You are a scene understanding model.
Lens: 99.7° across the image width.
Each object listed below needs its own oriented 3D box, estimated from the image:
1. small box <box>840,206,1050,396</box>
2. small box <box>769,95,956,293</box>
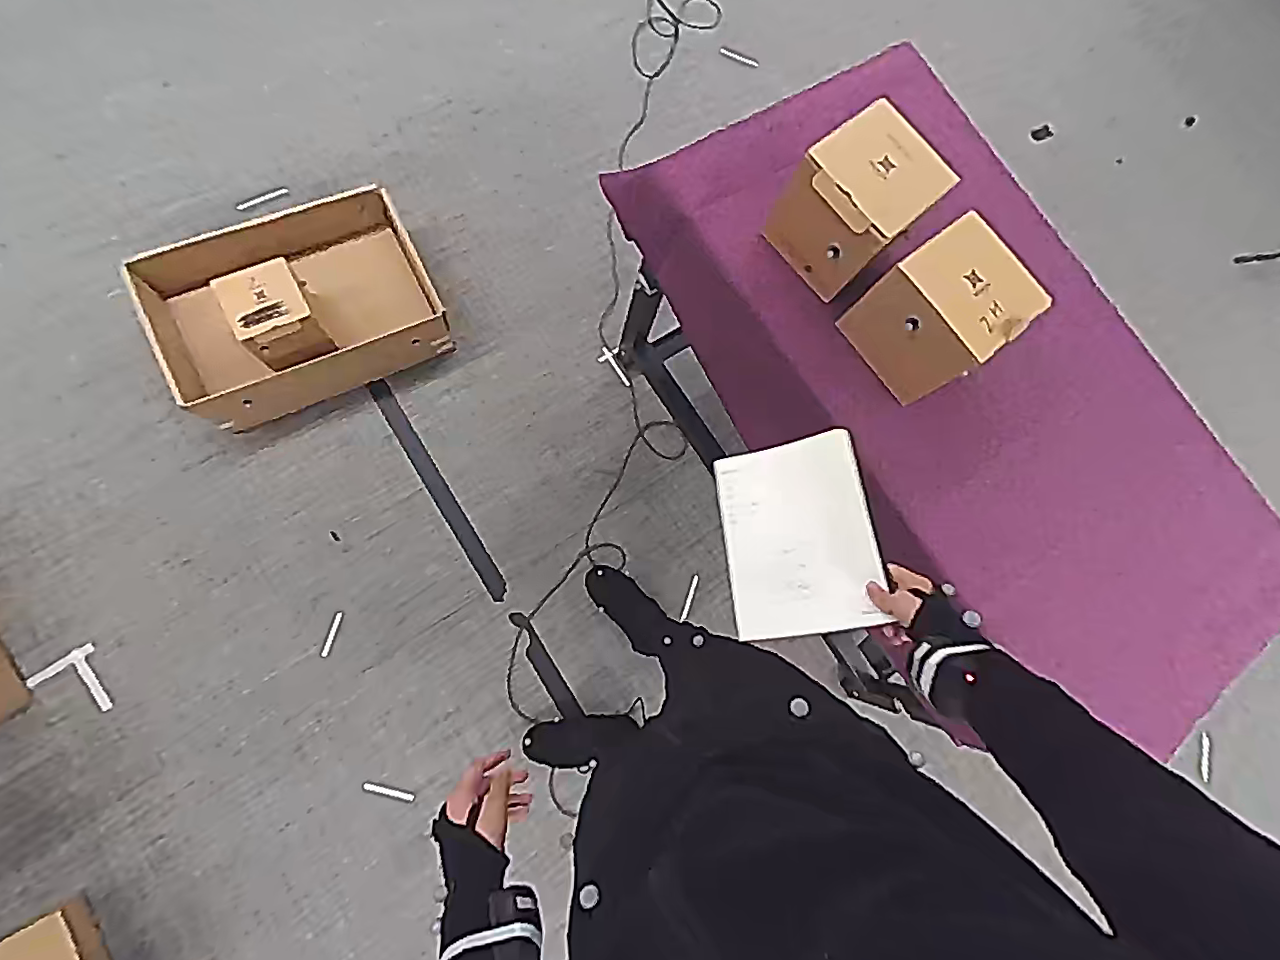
[{"bbox_3d":[0.440,-0.256,0.810,0.168,0.176,0.179,-37,87,-14],"label":"small box"},{"bbox_3d":[0.322,-0.423,0.827,0.179,0.176,0.168,-41,88,-15],"label":"small box"}]
